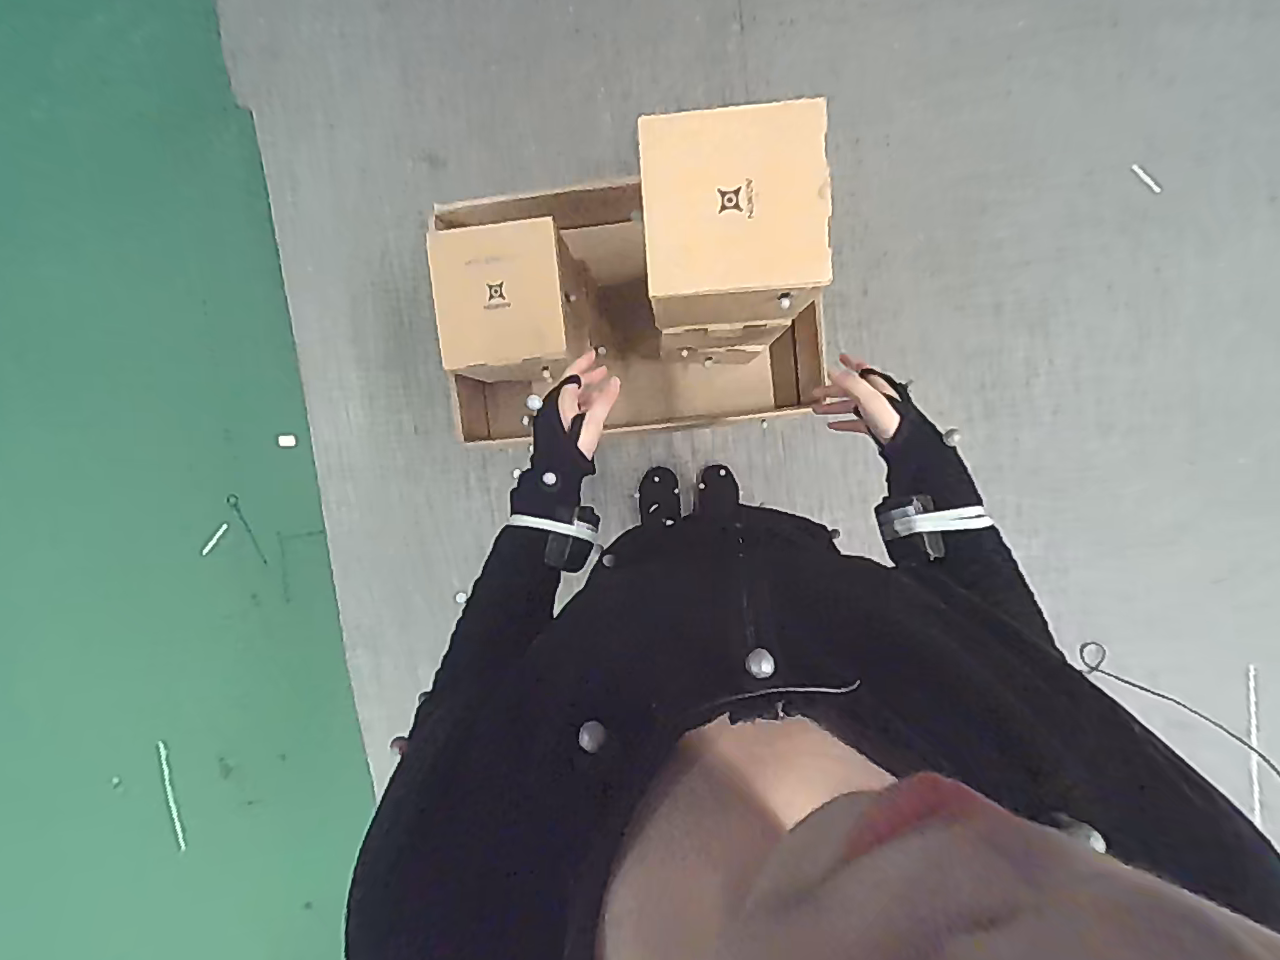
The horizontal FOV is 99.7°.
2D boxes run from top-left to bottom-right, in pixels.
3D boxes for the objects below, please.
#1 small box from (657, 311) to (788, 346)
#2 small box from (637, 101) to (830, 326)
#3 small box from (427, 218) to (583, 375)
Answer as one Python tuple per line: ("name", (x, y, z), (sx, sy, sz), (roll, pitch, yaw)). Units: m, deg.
("small box", (0.106, -0.284, 0.749), (0.168, 0.176, 0.179), (-3, 95, 3))
("small box", (0.093, -0.270, 0.587), (0.179, 0.176, 0.168), (-4, 95, 3))
("small box", (-0.178, -0.244, 0.767), (0.168, 0.176, 0.179), (-5, 95, 3))
